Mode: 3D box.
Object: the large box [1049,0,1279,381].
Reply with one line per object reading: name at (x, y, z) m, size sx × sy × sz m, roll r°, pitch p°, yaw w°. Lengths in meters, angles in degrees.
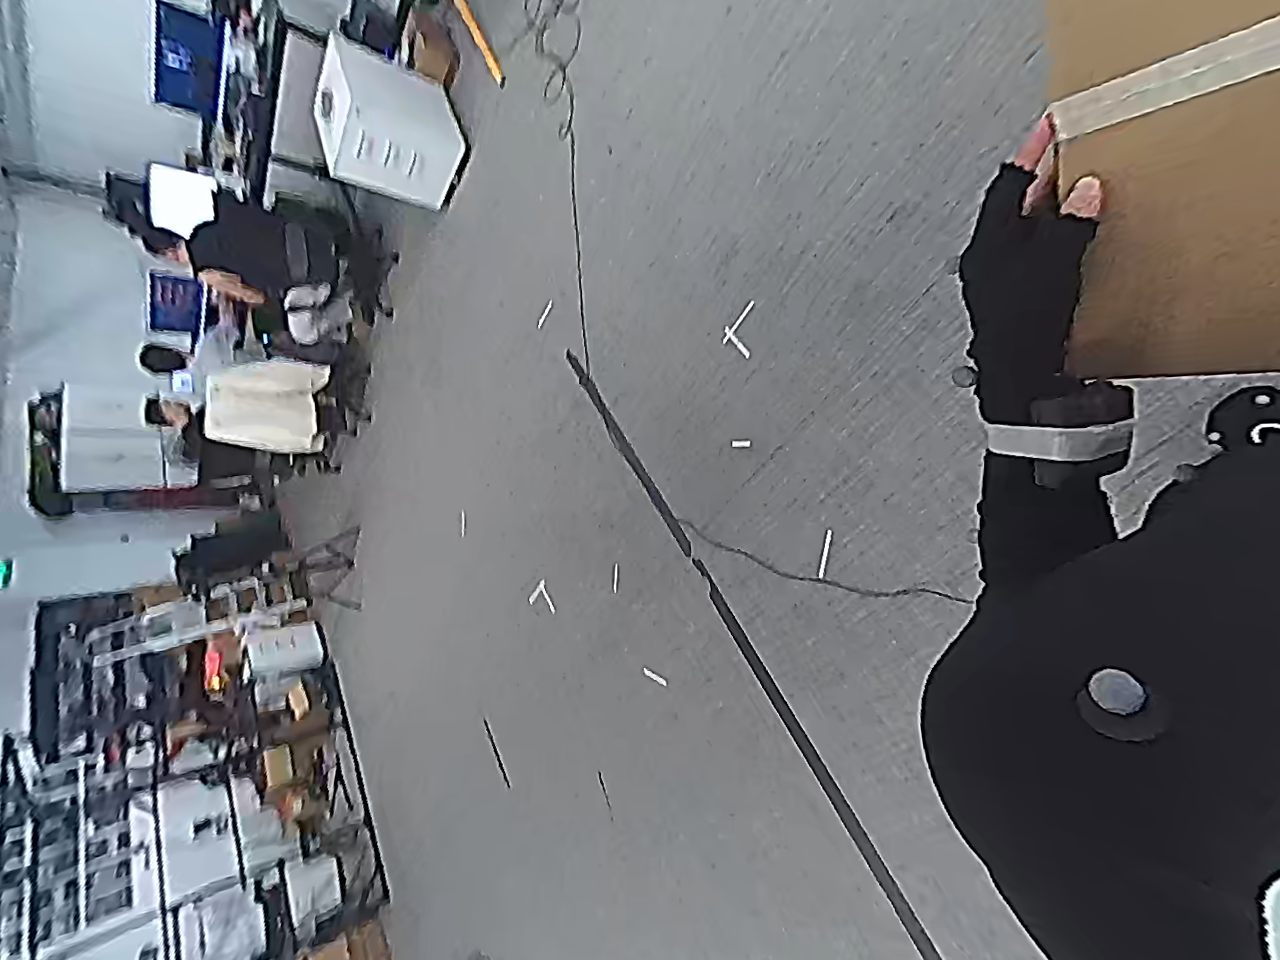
large box at (0.477, -0.253, 0.248) m, size 0.408 × 0.320 × 0.320 m, roll 8°, pitch 123°, yaw 51°
